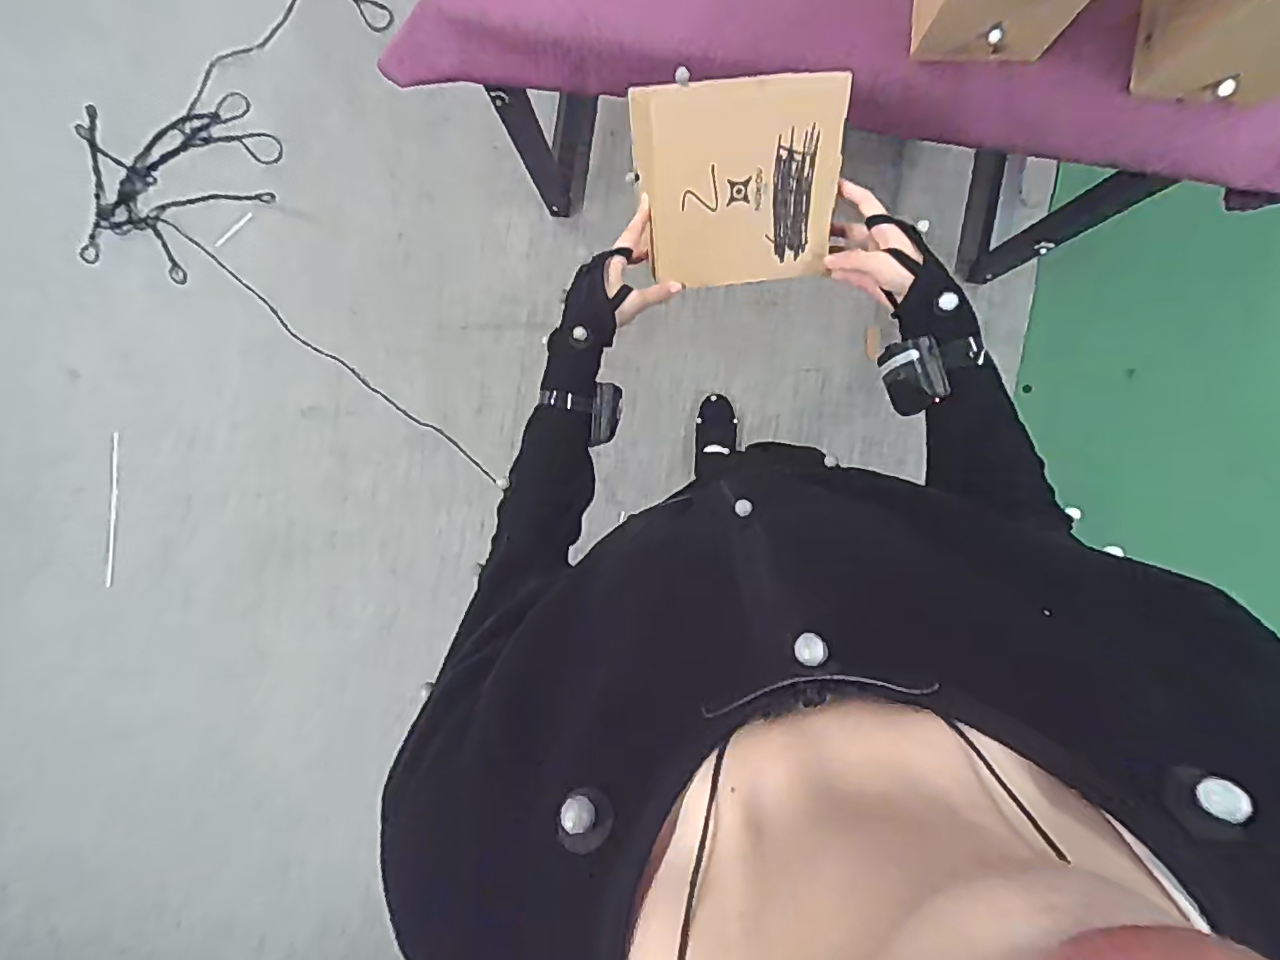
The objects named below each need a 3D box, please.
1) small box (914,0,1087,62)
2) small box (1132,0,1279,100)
[{"bbox_3d":[0.443,-0.643,0.635,0.168,0.176,0.179,3,93,4],"label":"small box"},{"bbox_3d":[0.732,-0.572,0.618,0.179,0.176,0.168,6,93,4],"label":"small box"}]
